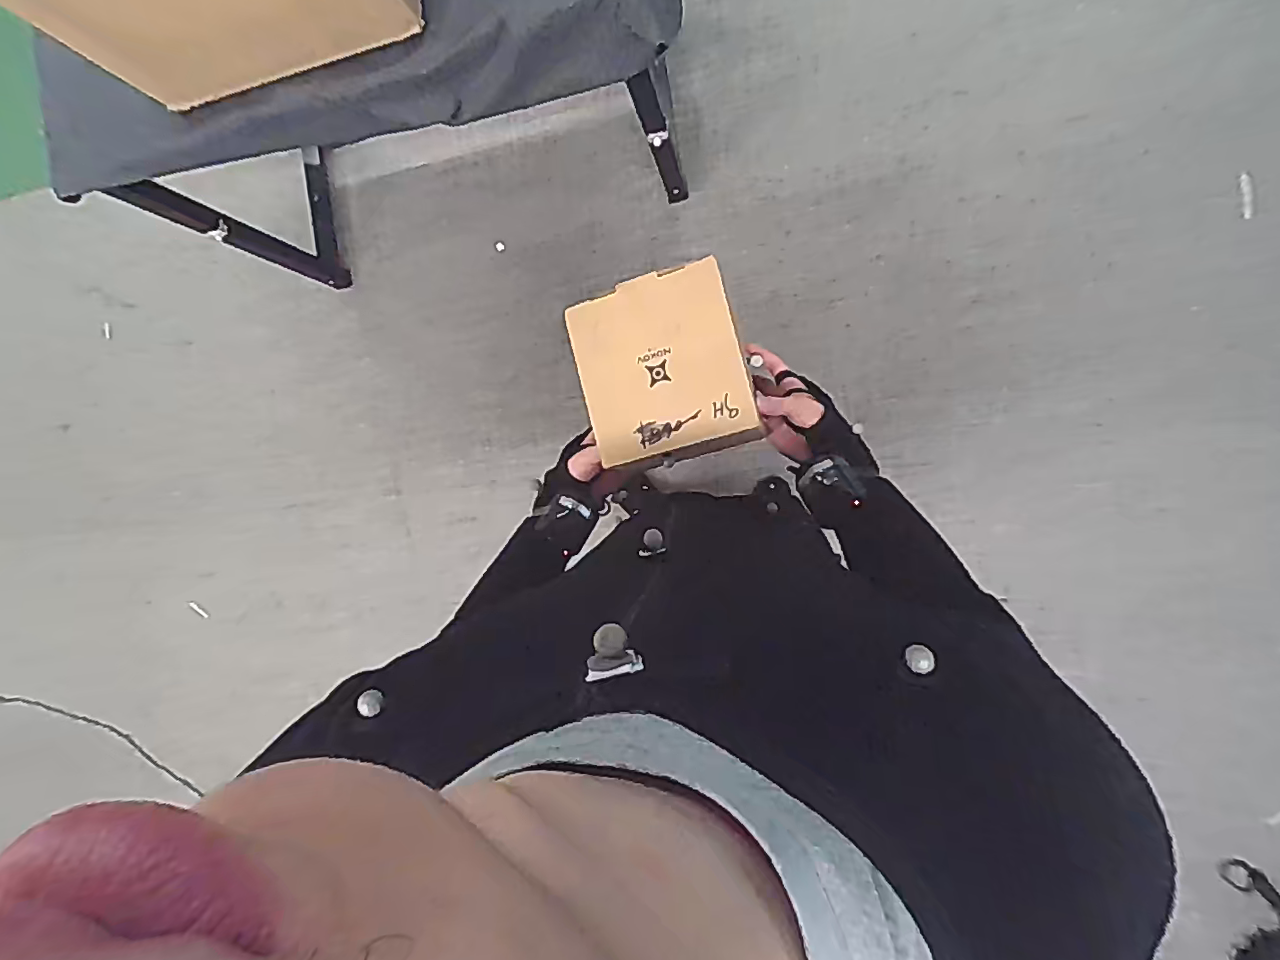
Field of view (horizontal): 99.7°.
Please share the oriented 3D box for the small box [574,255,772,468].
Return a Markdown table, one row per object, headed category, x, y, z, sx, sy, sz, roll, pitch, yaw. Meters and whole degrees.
| category | x | y | z | sx | sy | sz | roll | pitch | yaw |
| --- | --- | --- | --- | --- | --- | --- | --- | --- | --- |
| small box | 0.047 | -0.117 | 0.615 | 0.168 | 0.176 | 0.179 | -16 | 86 | 16 |
